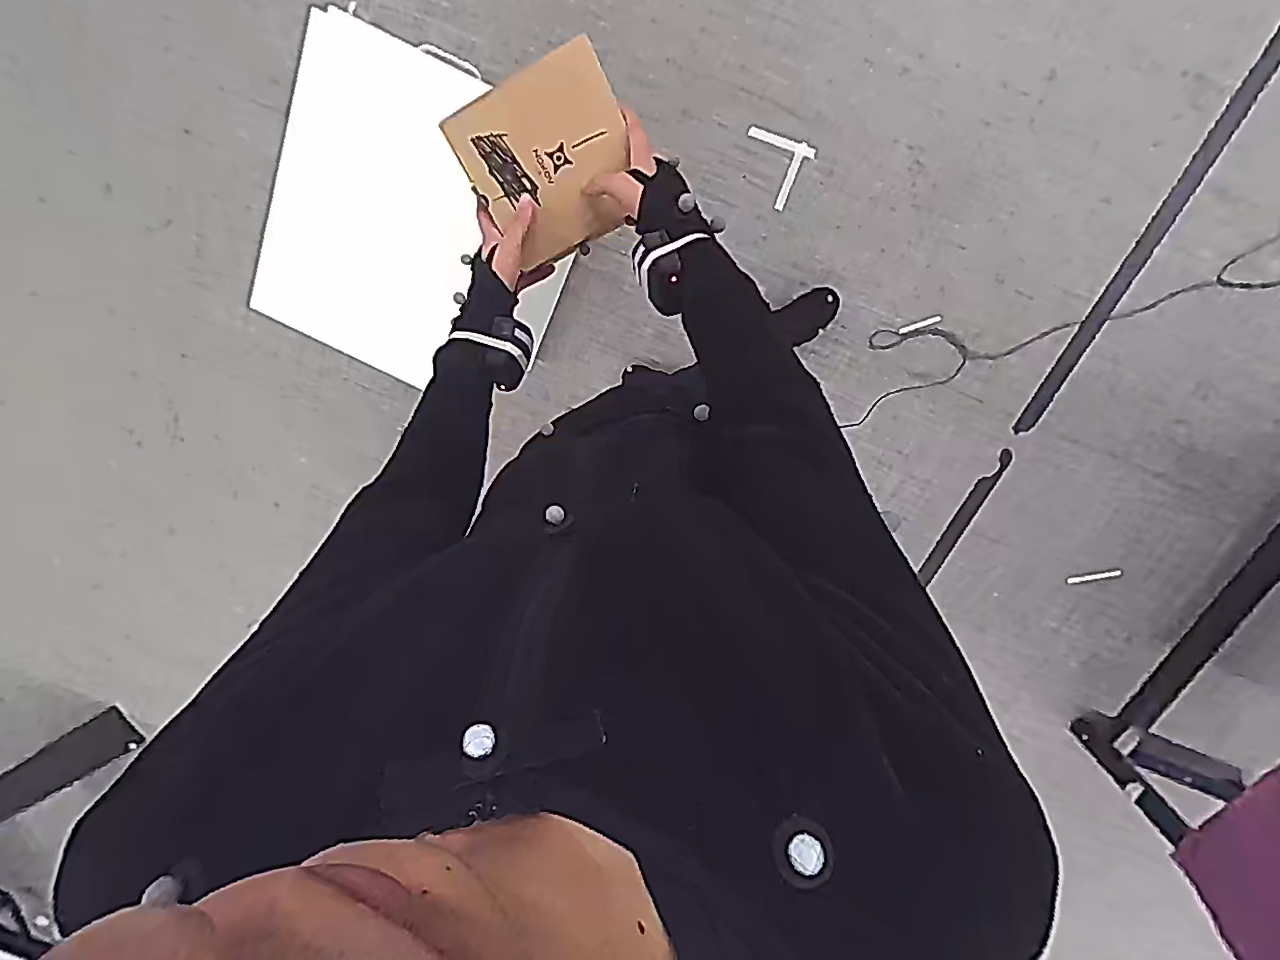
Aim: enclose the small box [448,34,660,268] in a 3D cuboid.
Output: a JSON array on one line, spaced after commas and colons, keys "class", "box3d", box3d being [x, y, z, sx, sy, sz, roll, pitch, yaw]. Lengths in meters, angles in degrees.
[{"class": "small box", "box3d": [-0.091, -0.369, 0.647, 0.179, 0.176, 0.168, -26, 111, 7]}]
